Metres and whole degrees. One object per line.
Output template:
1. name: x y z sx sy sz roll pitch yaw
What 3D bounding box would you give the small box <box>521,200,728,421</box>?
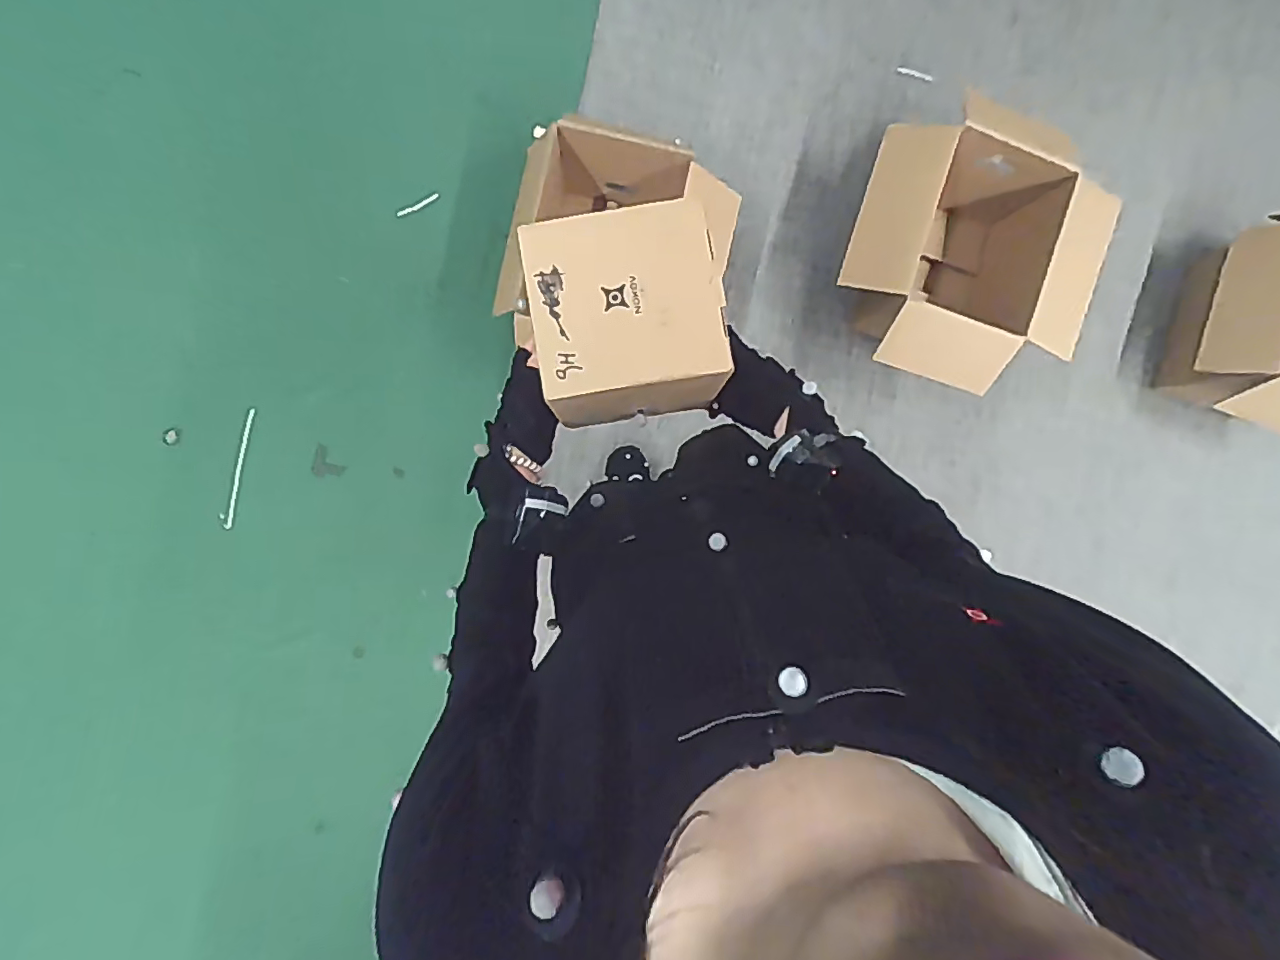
1. small box: -0.018 -0.165 0.575 0.179 0.176 0.168 -8 86 -2
